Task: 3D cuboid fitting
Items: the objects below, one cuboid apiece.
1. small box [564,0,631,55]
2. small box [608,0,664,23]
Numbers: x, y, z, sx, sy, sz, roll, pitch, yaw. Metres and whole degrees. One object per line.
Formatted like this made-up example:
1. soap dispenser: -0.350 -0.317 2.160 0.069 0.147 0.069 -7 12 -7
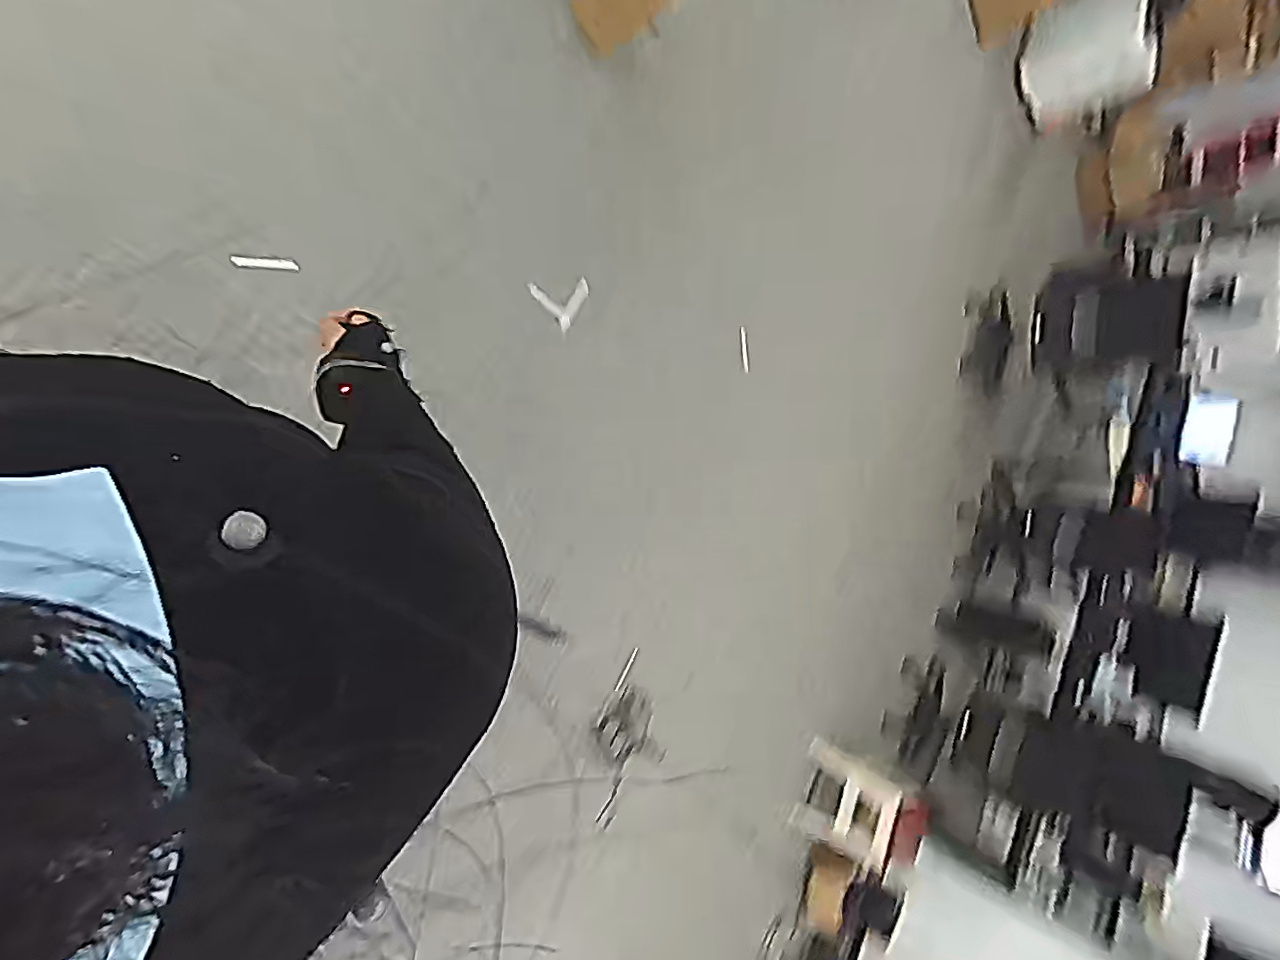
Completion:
1. small box: -0.096 -1.398 1.571 0.168 0.176 0.179 41 71 -34
2. small box: -0.006 -1.375 1.437 0.179 0.176 0.168 30 78 -35
